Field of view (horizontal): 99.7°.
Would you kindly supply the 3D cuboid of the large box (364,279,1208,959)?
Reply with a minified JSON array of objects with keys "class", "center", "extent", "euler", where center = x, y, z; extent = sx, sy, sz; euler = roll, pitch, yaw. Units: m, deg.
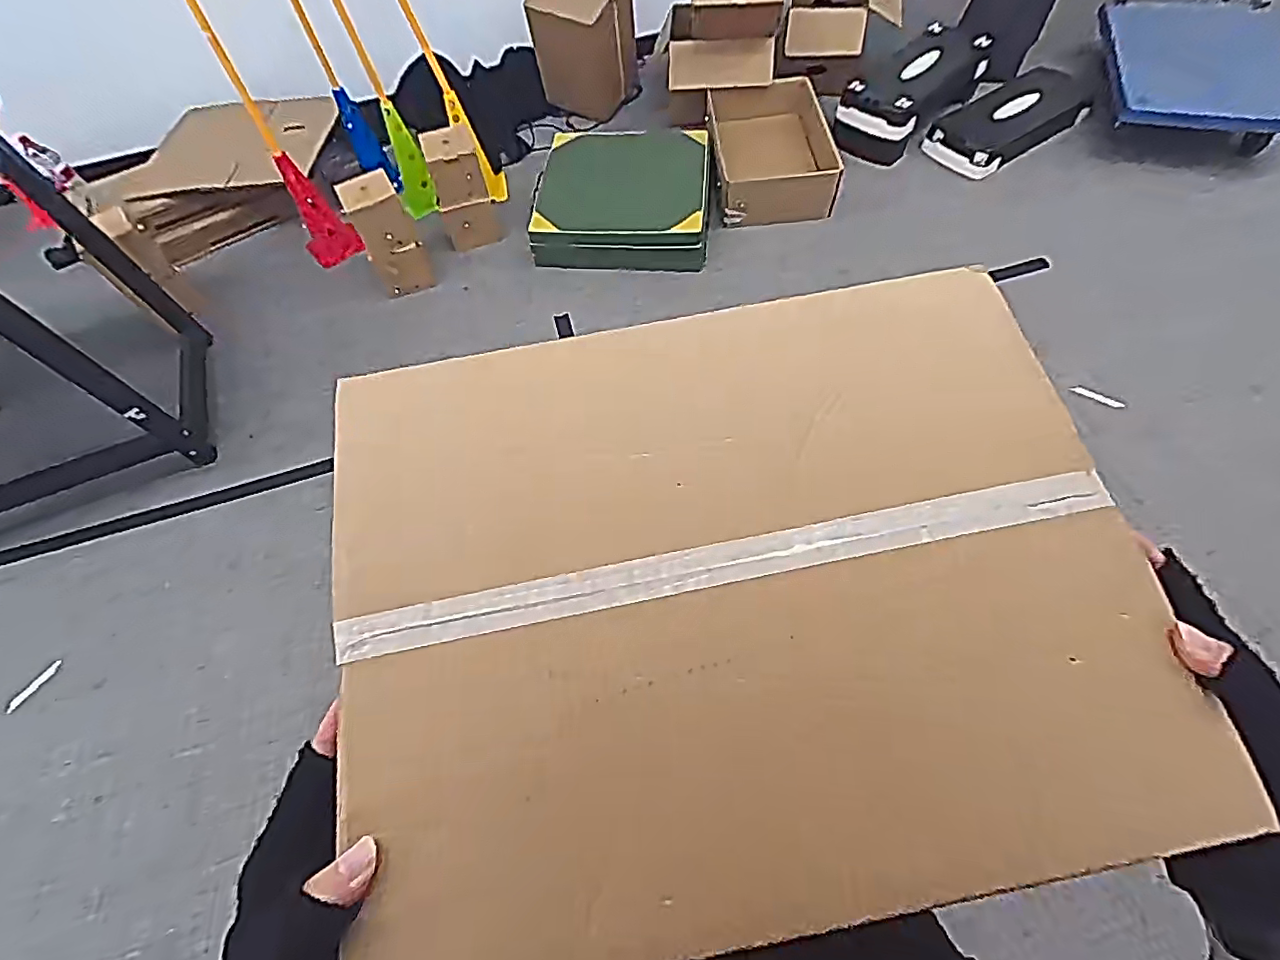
[{"class":"large box","center":[0.051,0.097,0.438],"extent":[0.408,0.320,0.320],"euler":[-11,70,-2]}]
